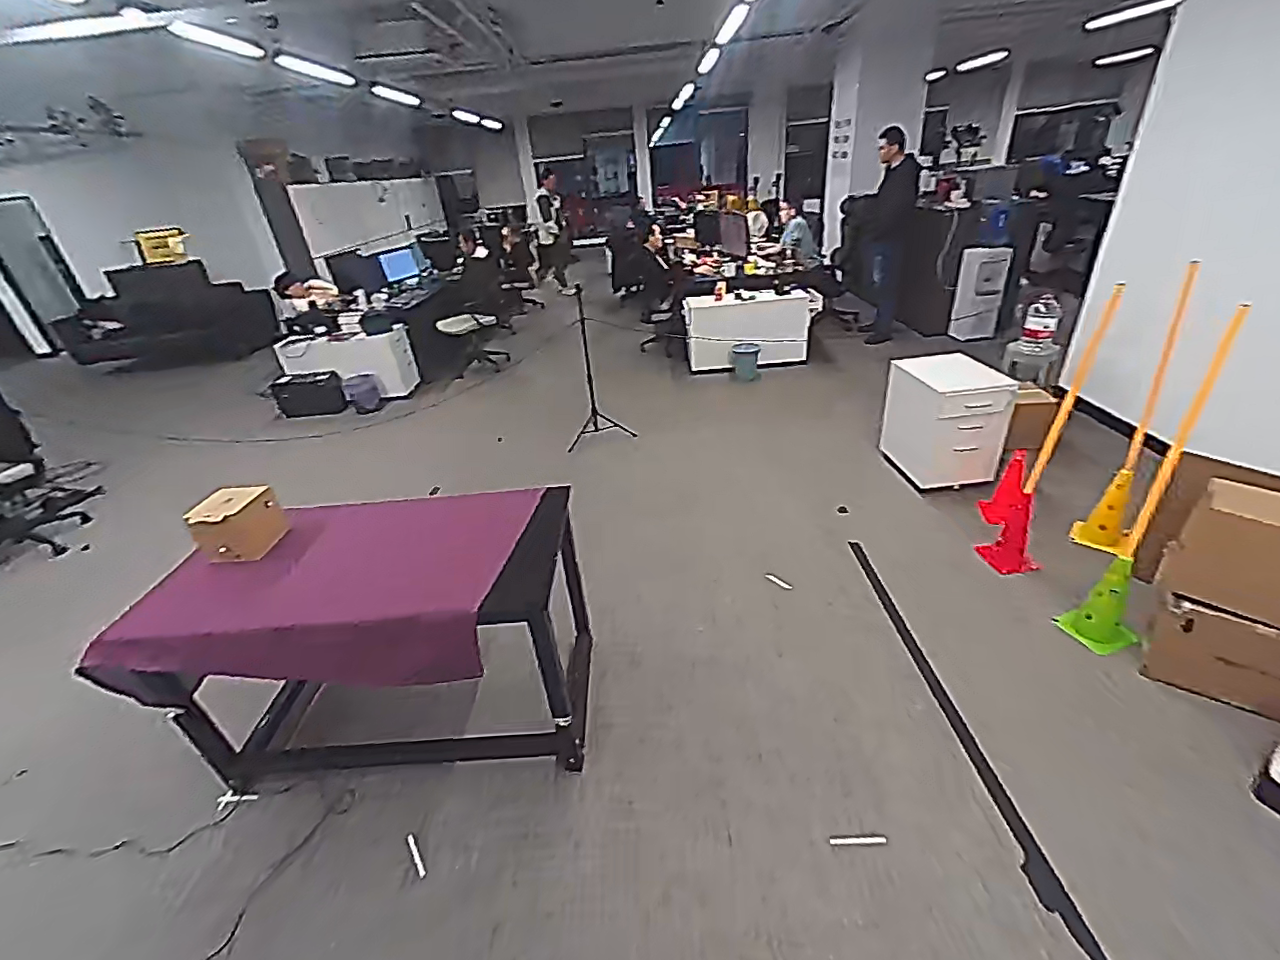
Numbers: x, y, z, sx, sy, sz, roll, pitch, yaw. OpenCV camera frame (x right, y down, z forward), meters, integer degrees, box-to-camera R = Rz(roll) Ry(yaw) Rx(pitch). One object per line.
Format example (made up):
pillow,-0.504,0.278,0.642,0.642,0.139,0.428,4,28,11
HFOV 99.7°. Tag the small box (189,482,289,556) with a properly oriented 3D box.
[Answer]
small box,-1.249,0.122,1.705,0.168,0.176,0.179,-3,31,4
